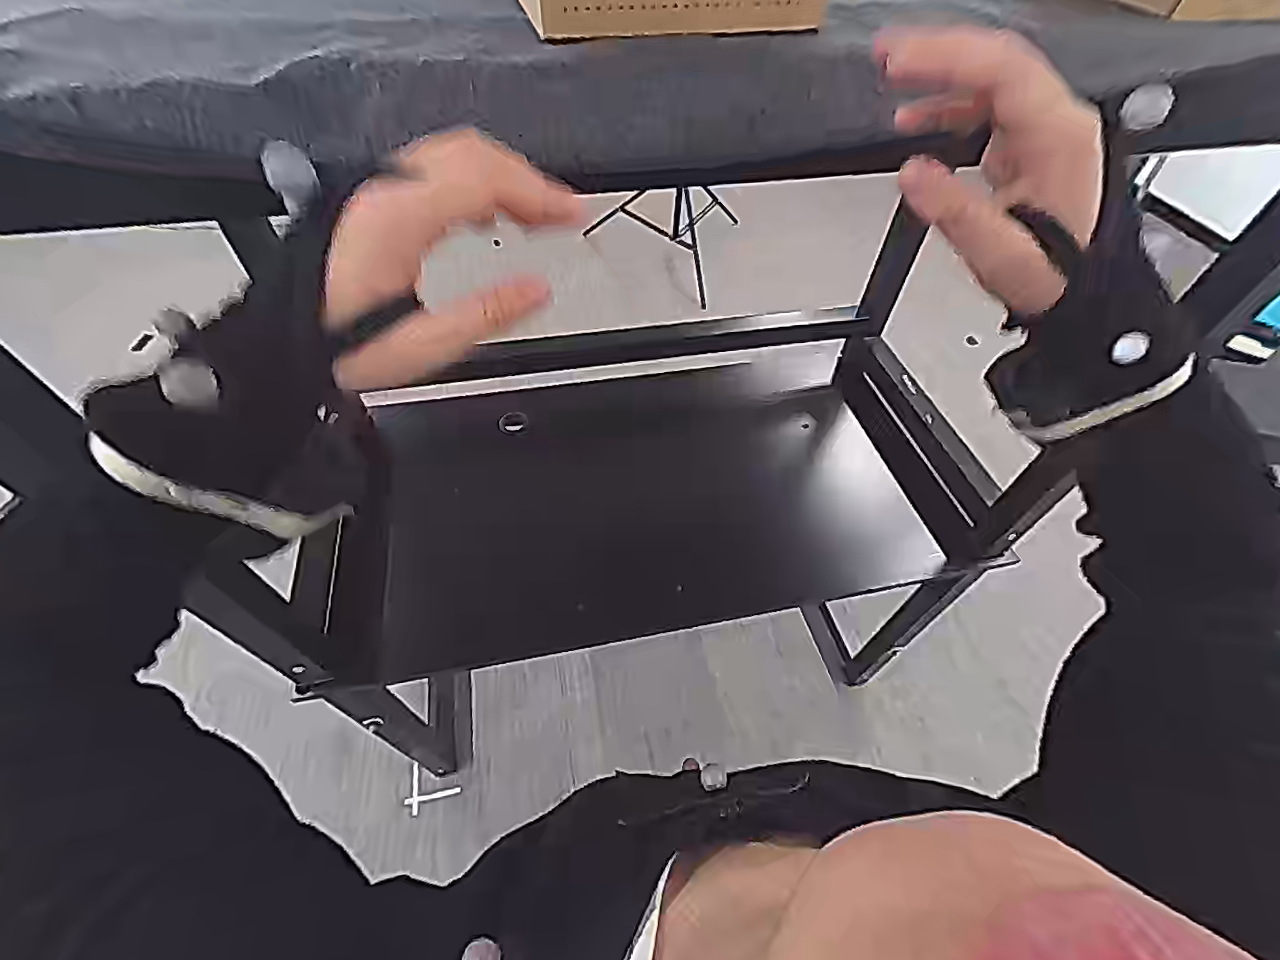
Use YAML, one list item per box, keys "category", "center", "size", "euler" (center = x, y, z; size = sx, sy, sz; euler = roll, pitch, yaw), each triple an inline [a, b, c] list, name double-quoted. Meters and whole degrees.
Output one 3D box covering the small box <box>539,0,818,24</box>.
- category: "small box"
  center: [0.011, -0.380, 0.303]
  size: [0.179, 0.176, 0.168]
  euler: [-11, 52, -11]
